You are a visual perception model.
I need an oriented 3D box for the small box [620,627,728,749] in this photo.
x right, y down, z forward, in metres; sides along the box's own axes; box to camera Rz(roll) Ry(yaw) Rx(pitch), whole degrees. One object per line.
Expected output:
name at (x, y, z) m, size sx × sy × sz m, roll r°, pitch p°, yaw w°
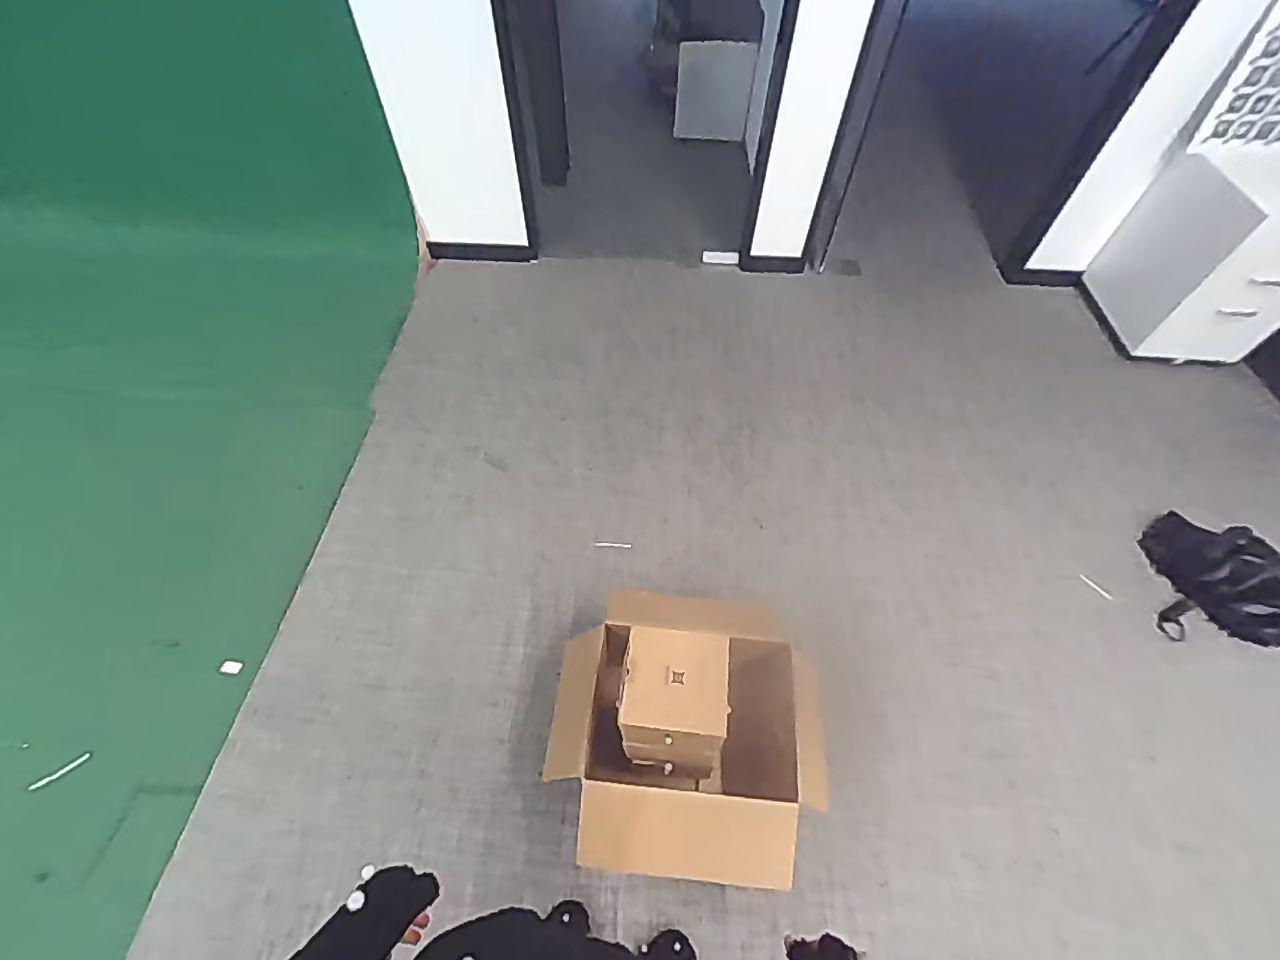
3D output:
small box at (0.063, 0.379, 0.978) m, size 0.179 × 0.176 × 0.168 m, roll 4°, pitch 56°, yaw 4°
